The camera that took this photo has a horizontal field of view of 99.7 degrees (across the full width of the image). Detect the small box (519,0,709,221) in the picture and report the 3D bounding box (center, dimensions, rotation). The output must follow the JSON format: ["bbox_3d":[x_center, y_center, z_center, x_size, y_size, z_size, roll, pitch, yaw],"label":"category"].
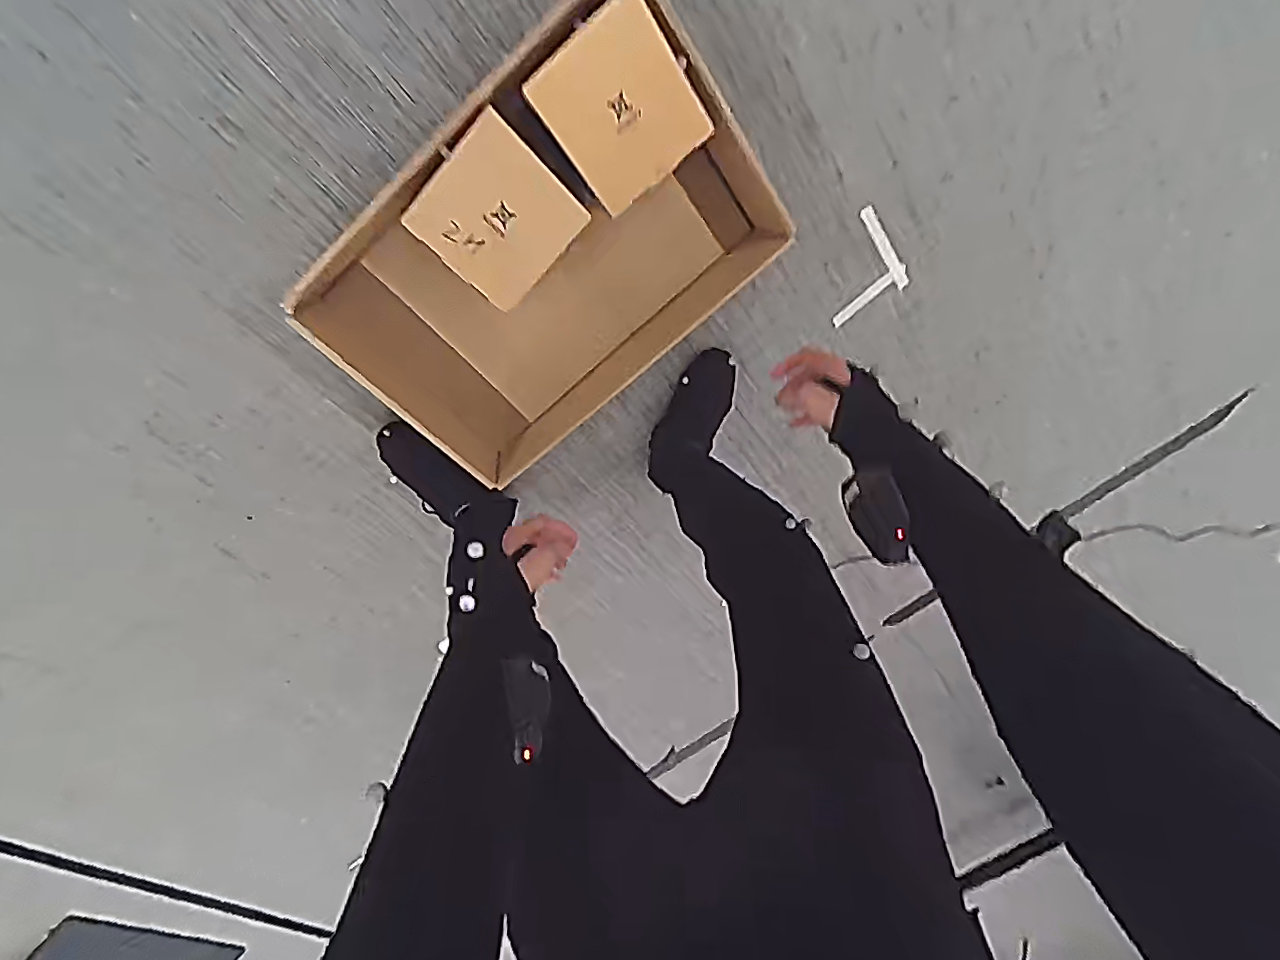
[{"bbox_3d":[-0.042,-0.475,0.712,0.168,0.176,0.179,-38,122,12],"label":"small box"}]
